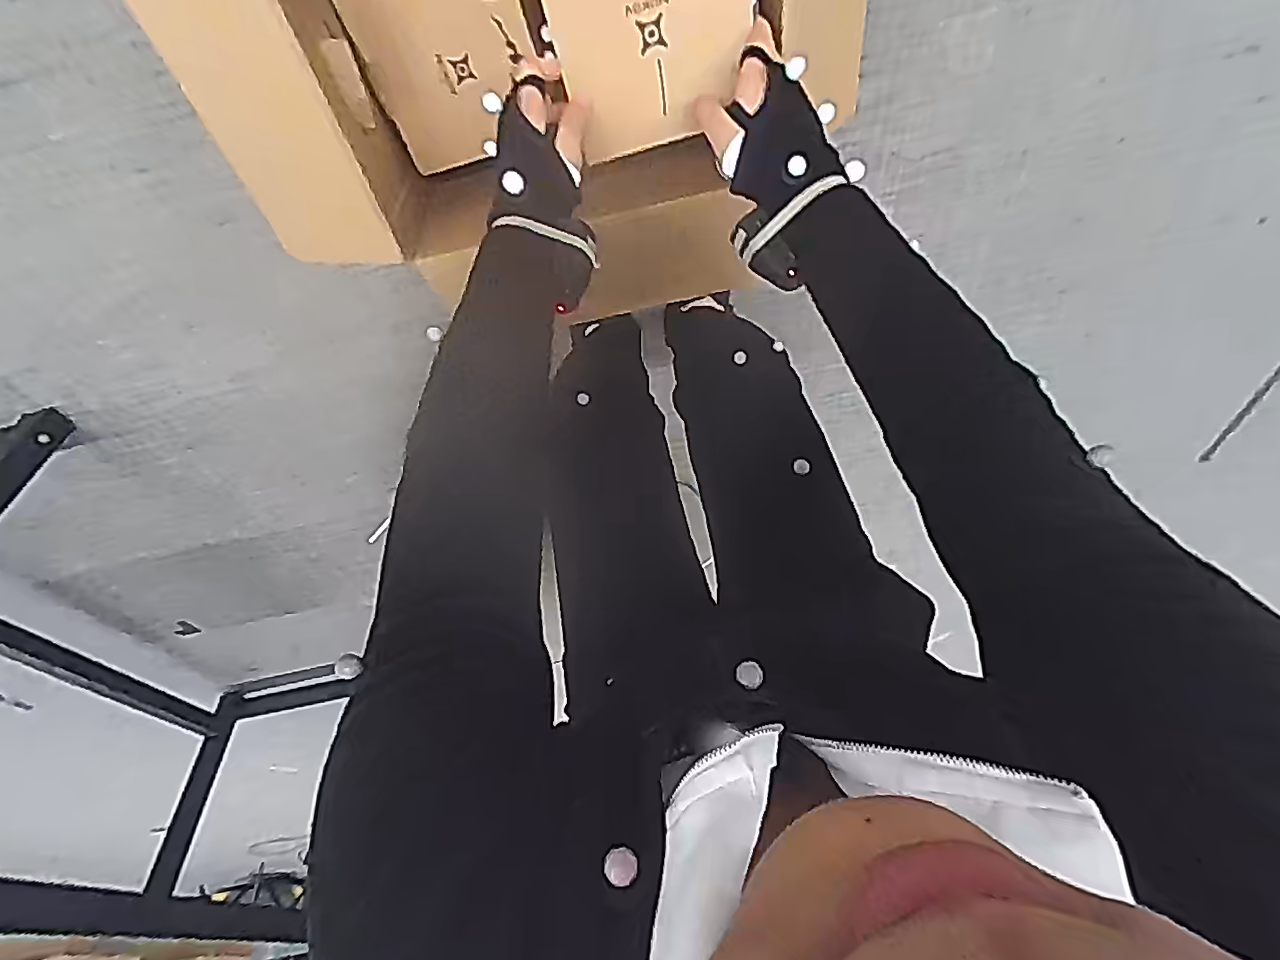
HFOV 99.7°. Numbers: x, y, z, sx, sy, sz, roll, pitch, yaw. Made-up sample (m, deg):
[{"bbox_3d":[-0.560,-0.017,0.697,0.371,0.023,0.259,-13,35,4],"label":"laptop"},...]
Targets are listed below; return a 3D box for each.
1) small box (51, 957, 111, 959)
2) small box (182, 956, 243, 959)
[{"bbox_3d":[-1.061,0.958,0.946,0.179,0.176,0.168,-11,137,2],"label":"small box"},{"bbox_3d":[-1.005,1.157,1.174,0.179,0.176,0.168,-15,136,7],"label":"small box"}]
